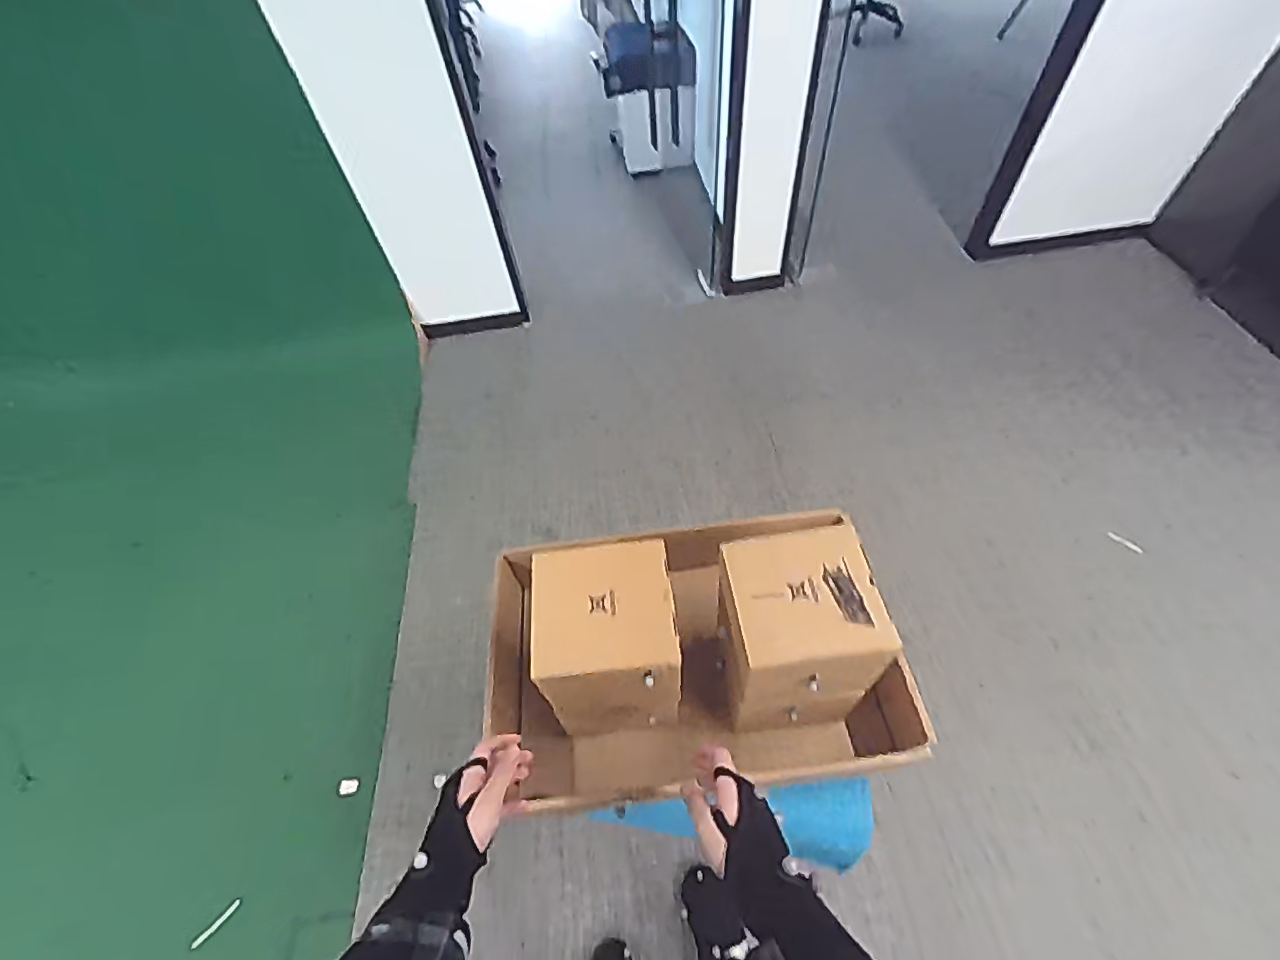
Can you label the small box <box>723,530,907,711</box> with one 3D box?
[{"bbox_3d":[0.209,0.187,0.704,0.179,0.176,0.168,-8,51,2],"label":"small box"}]
